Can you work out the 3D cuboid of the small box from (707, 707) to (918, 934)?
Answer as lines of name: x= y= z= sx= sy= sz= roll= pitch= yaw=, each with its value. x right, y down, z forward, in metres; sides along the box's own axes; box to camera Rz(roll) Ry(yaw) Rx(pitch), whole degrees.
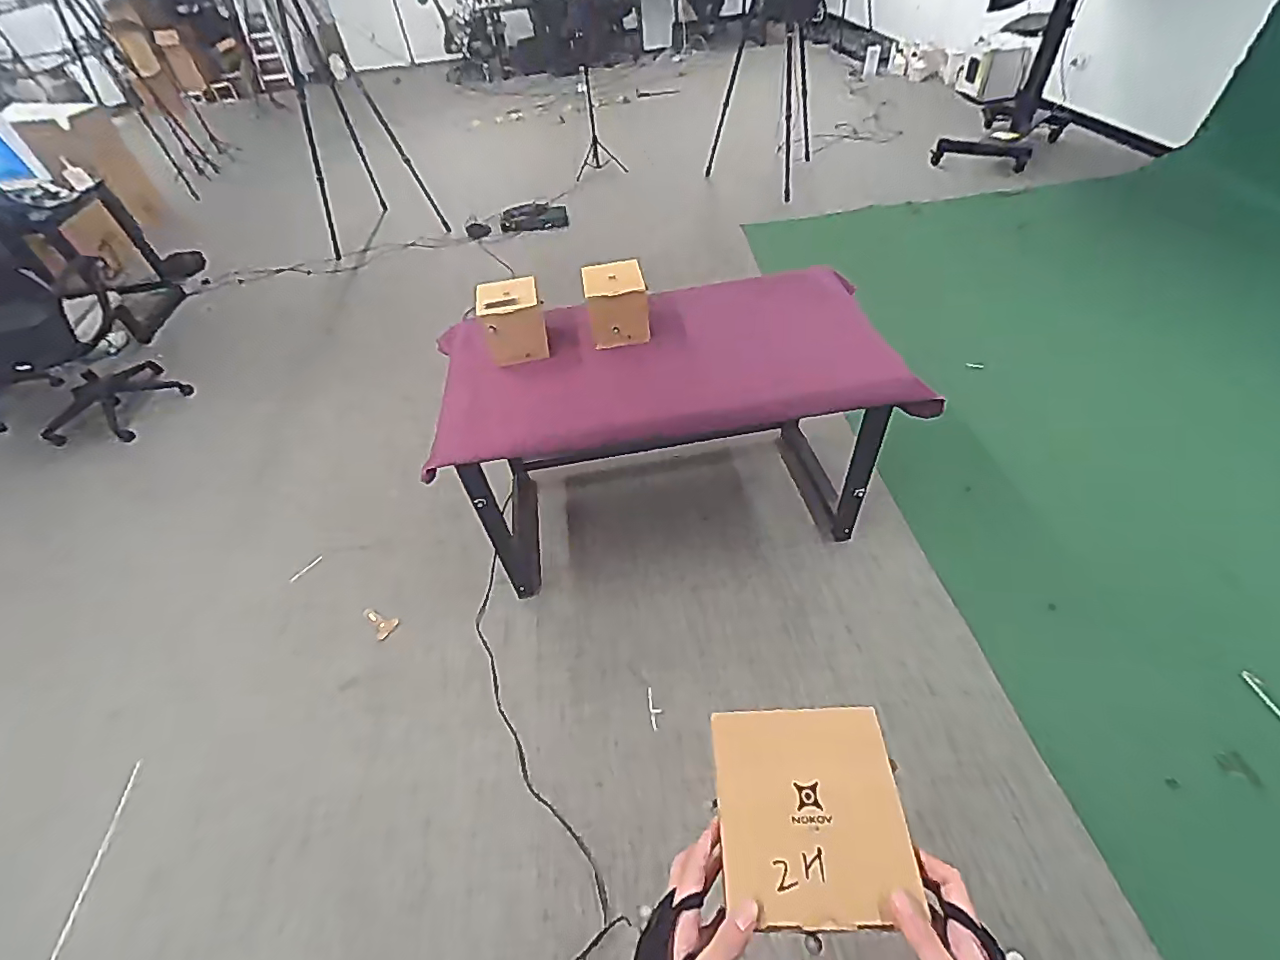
small box: x=0.157 y=0.354 z=0.561 sx=0.168 sy=0.176 sz=0.179 roll=-5 pitch=50 yaw=6

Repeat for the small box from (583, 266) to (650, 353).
small box: x=-0.067 y=-0.495 z=1.574 sx=0.168 sy=0.176 sz=0.179 roll=-10 pitch=49 yaw=-2
